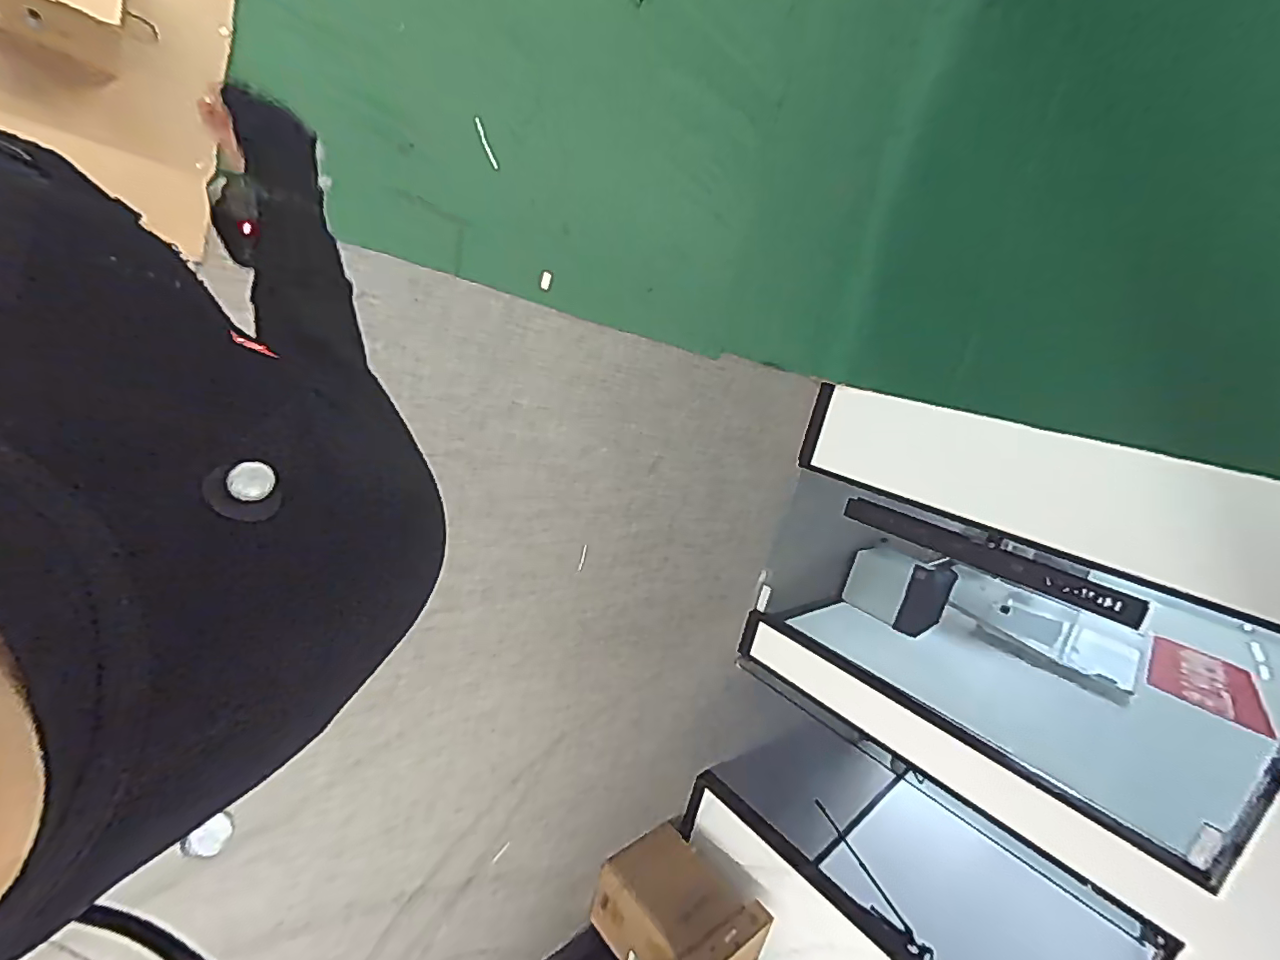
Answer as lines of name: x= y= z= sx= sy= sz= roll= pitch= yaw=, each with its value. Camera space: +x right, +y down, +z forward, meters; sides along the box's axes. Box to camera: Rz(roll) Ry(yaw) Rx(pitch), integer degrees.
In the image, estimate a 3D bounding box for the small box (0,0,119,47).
small box: x=-0.783 y=-0.715 z=0.696 sx=0.168 sy=0.176 sz=0.179 roll=5 pitch=105 yaw=-45
